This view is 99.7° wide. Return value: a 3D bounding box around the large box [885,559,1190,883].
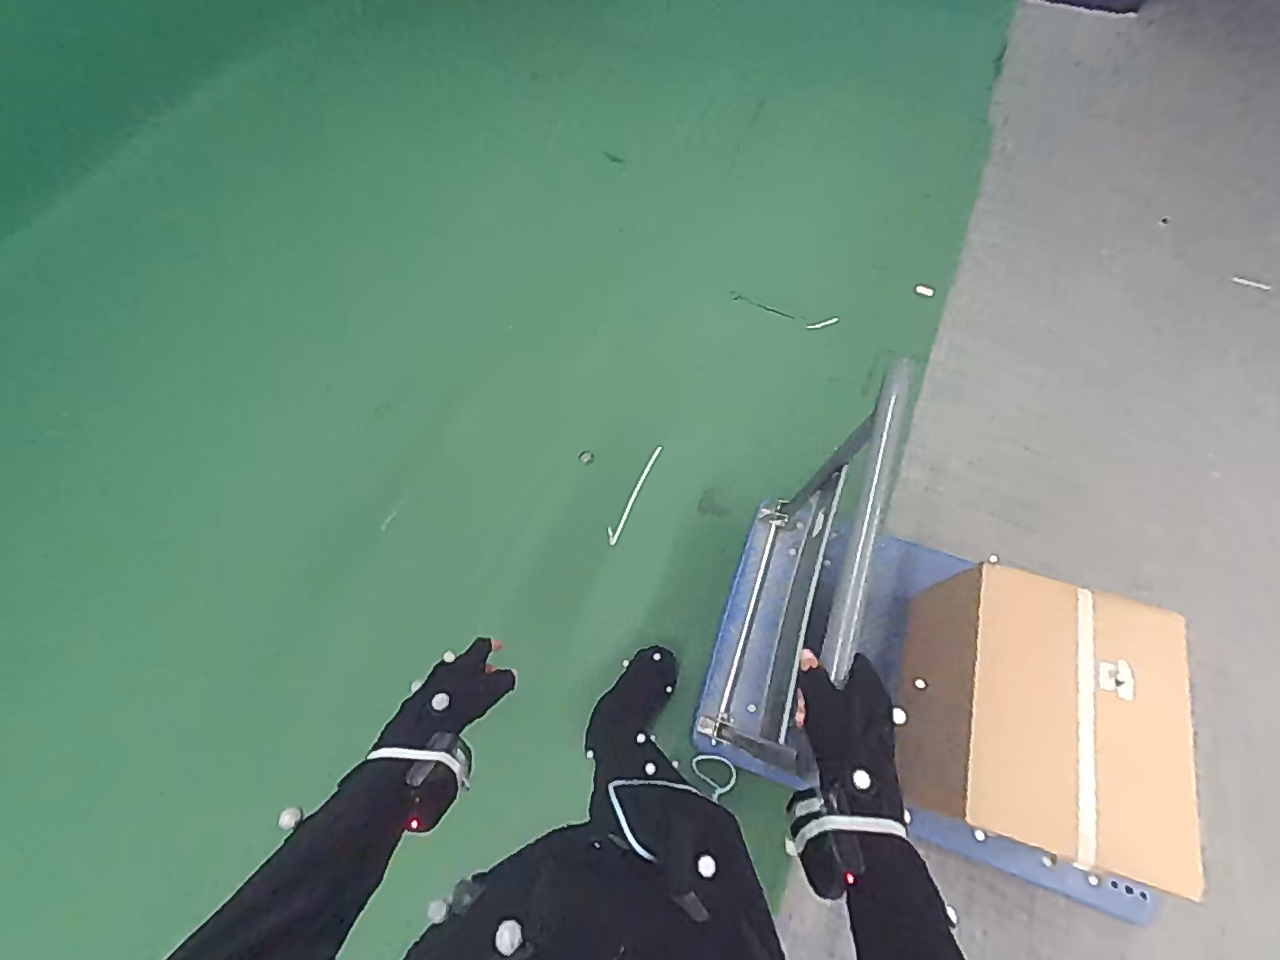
[{"bbox_3d":[0.670,0.409,0.974,0.320,0.320,0.408,16,67,8],"label":"large box"}]
